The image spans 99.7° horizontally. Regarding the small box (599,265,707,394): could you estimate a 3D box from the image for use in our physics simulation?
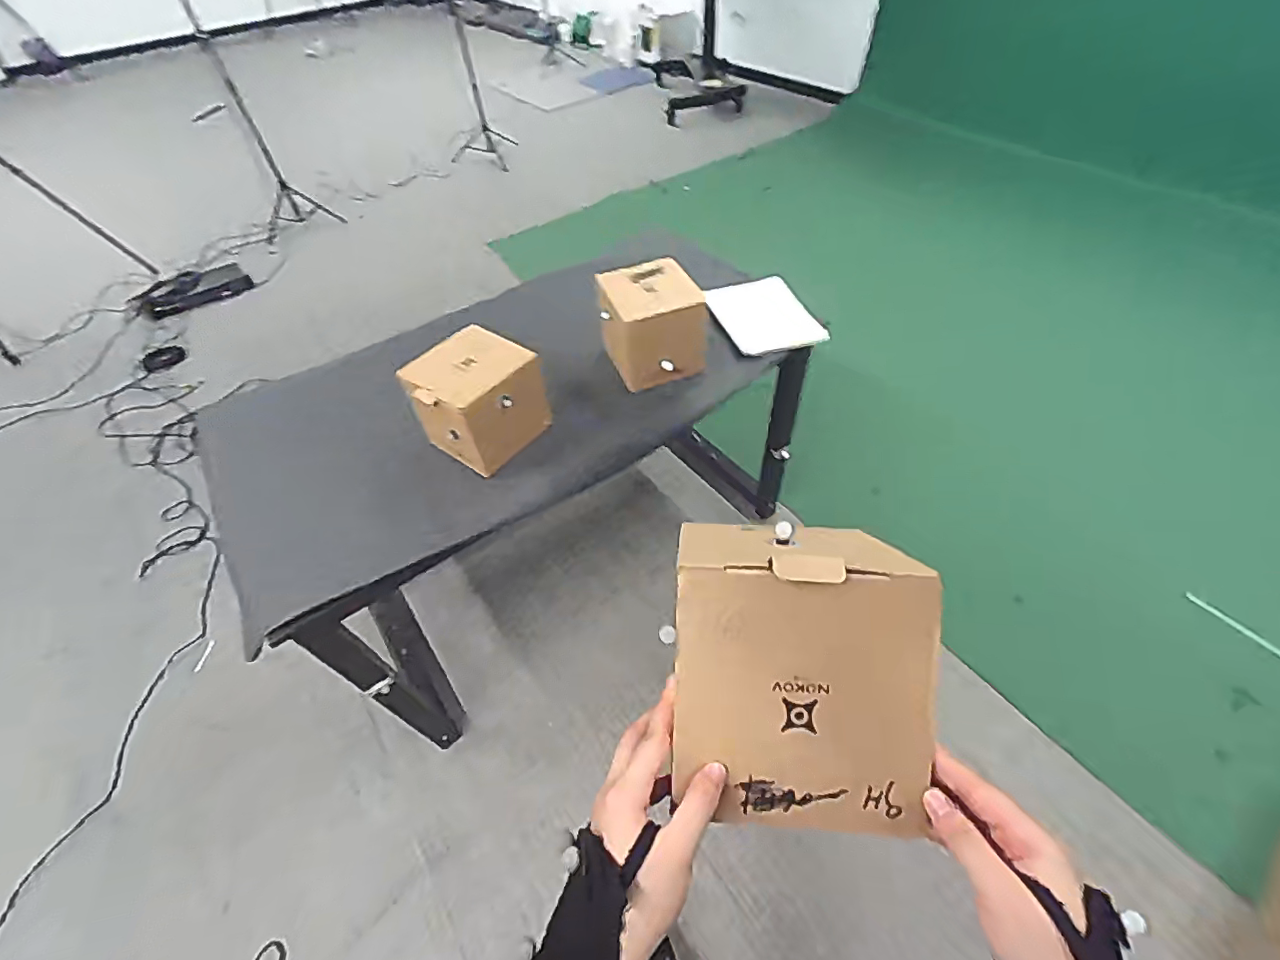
[{"bbox_3d":[0.024,-0.305,1.100,0.168,0.176,0.179,-19,51,-10],"label":"small box"}]

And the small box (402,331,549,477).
[{"bbox_3d":[-0.288,-0.136,0.987,0.168,0.176,0.179,29,57,24],"label":"small box"}]

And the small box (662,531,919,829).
[{"bbox_3d":[0.103,0.139,0.439,0.168,0.176,0.179,1,95,5],"label":"small box"}]
